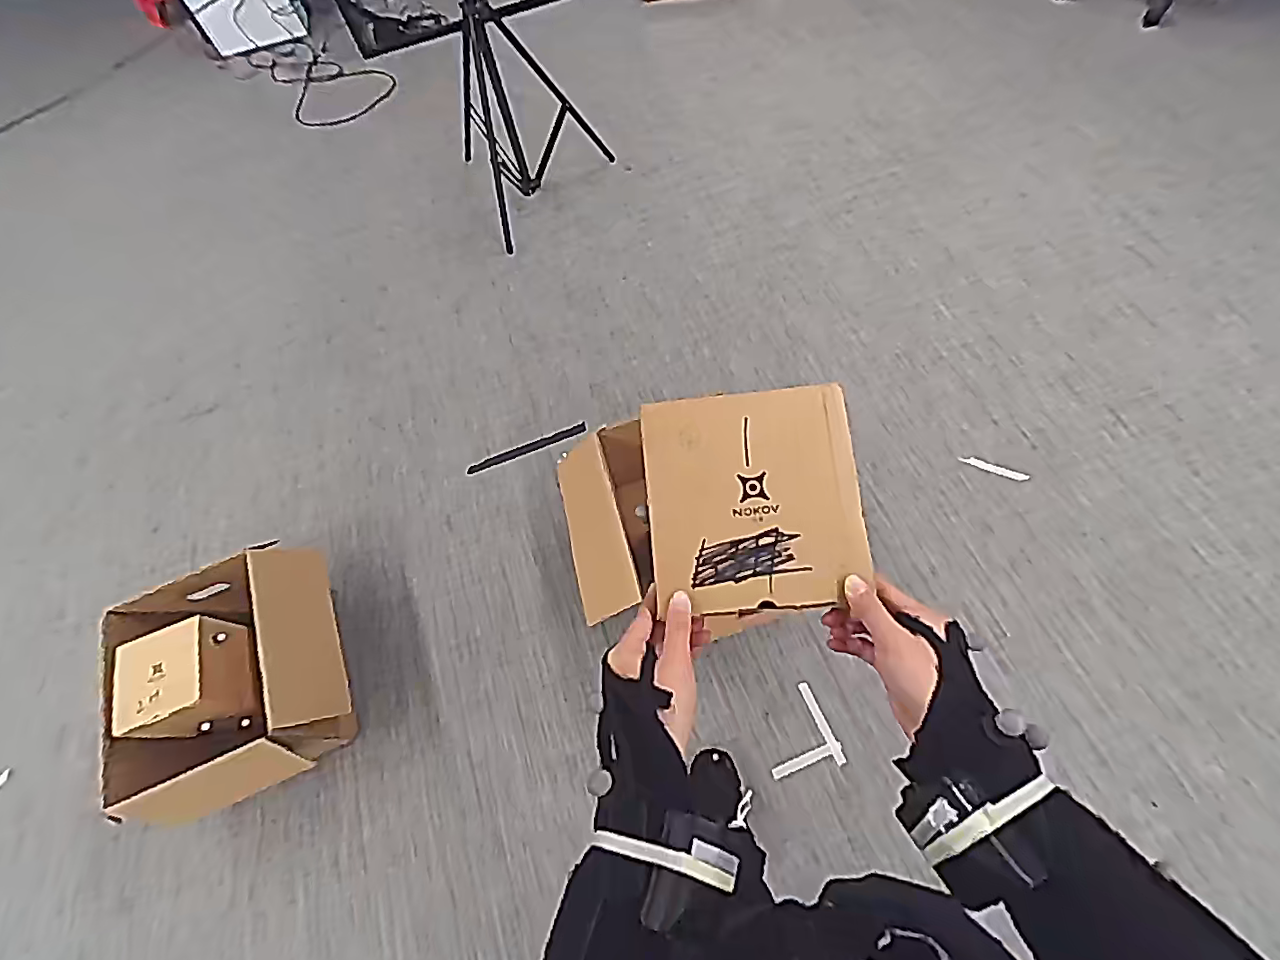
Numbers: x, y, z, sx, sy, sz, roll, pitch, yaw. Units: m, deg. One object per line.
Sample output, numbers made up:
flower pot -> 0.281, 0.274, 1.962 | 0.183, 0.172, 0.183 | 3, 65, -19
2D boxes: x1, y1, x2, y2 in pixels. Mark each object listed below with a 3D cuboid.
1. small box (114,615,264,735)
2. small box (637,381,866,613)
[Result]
small box -> -0.905, 0.402, 1.102 | 0.168, 0.176, 0.179 | -22, 64, -4
small box -> 0.090, 0.025, 0.505 | 0.168, 0.176, 0.179 | -5, 78, 3
